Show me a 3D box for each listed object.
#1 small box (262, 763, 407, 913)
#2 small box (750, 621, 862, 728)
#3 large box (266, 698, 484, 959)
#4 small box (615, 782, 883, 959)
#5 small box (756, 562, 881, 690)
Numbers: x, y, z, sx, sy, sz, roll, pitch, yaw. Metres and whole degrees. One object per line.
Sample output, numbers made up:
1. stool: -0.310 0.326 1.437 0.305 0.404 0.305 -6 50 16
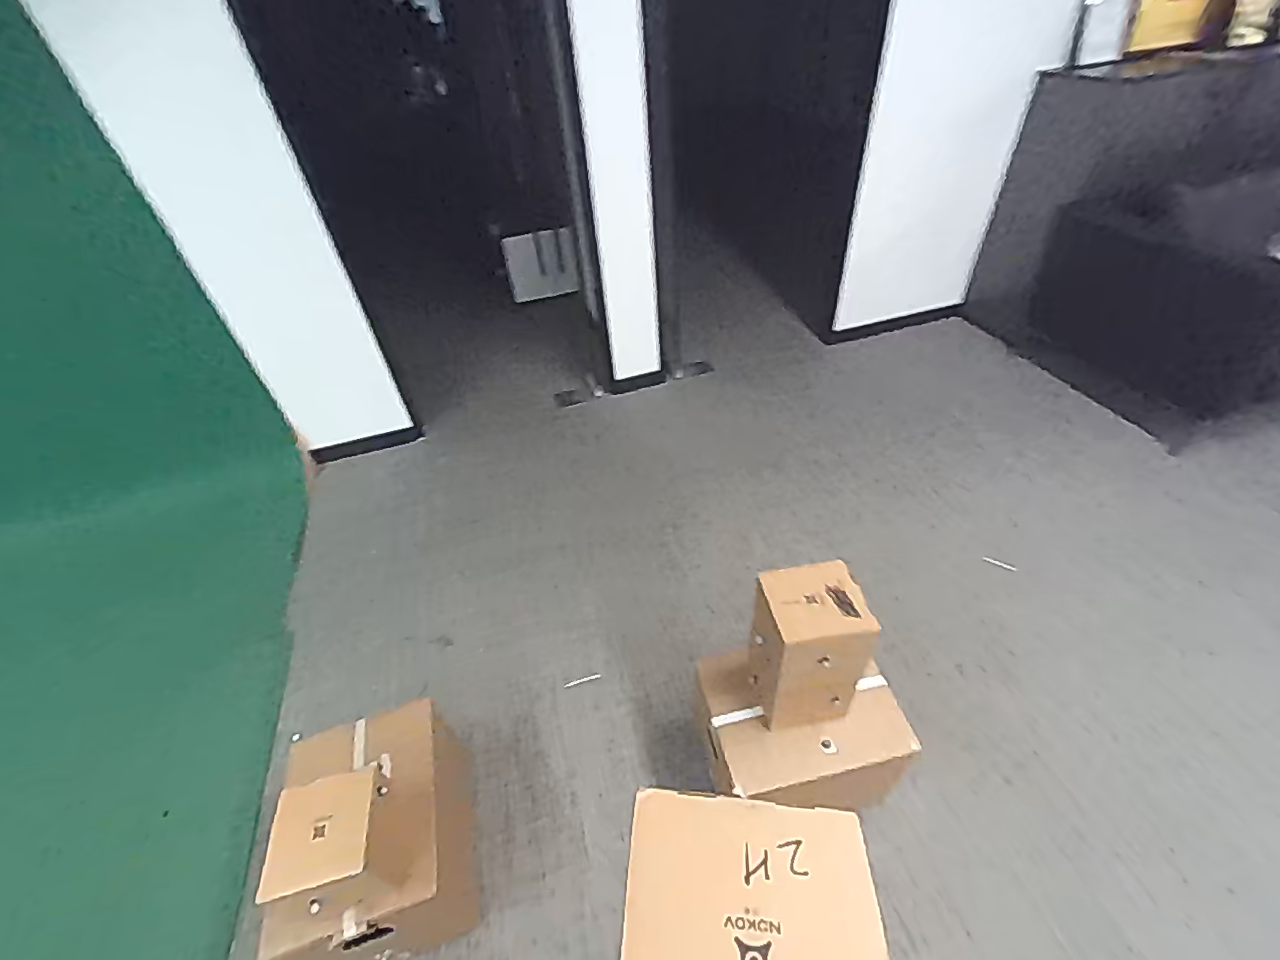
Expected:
1. small box: -0.539 0.657 0.986 0.168 0.176 0.179 -12 41 -8
2. small box: 0.345 0.408 1.163 0.179 0.176 0.168 -9 40 -3
3. large box: -0.560 0.787 1.210 0.320 0.320 0.408 -15 42 -10
4. small box: 0.065 0.352 0.383 0.168 0.176 0.179 6 35 3
5. small box: 0.335 0.285 1.054 0.179 0.176 0.168 -8 40 -2
